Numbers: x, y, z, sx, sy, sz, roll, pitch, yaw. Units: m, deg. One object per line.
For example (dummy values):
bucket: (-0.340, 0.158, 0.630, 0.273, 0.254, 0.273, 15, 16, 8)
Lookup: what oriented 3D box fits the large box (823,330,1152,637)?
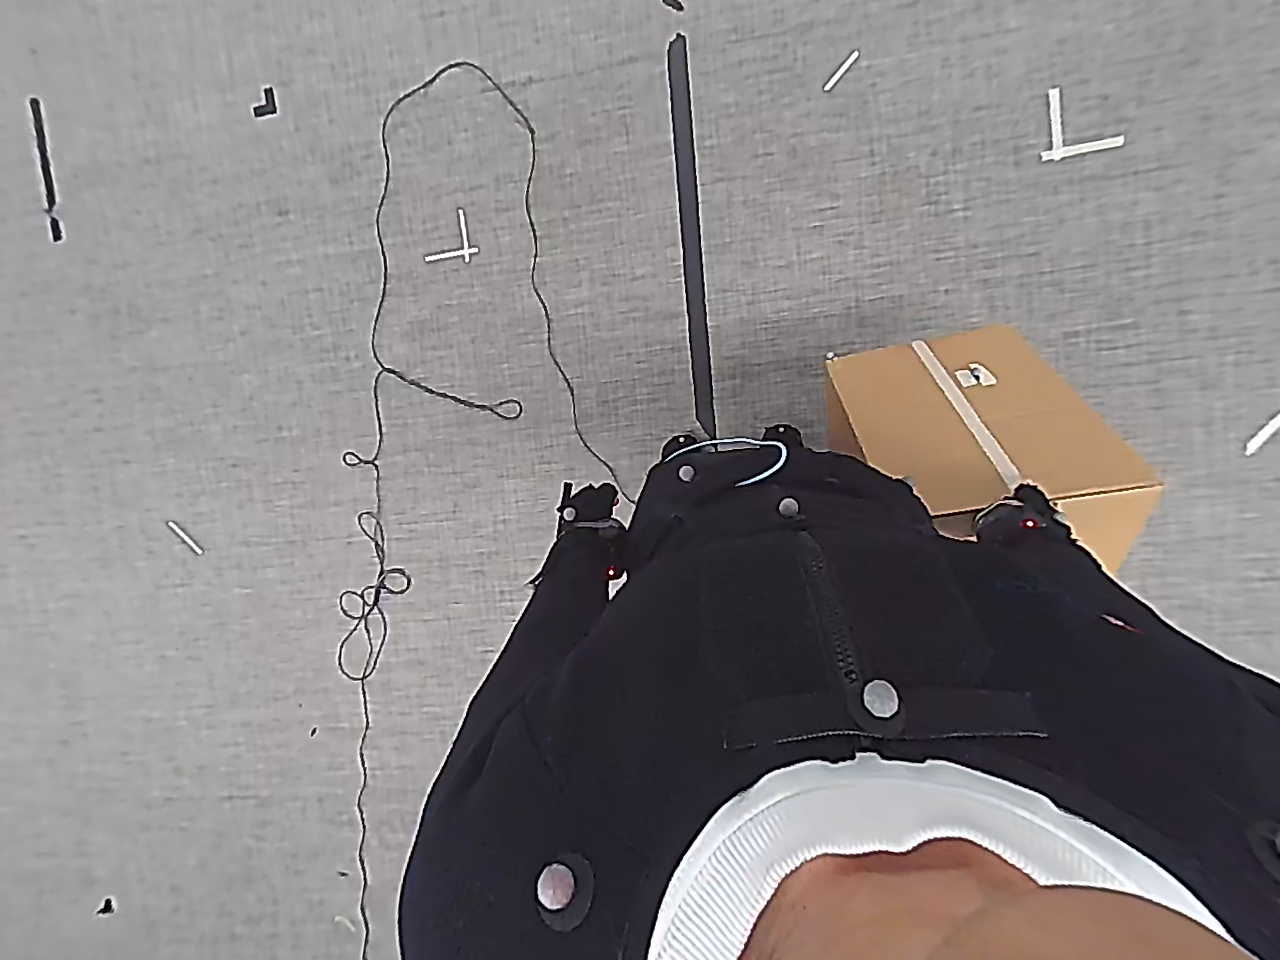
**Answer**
large box: (0.525, 0.002, 0.931, 0.320, 0.408, 0.320, -9, 131, 9)
